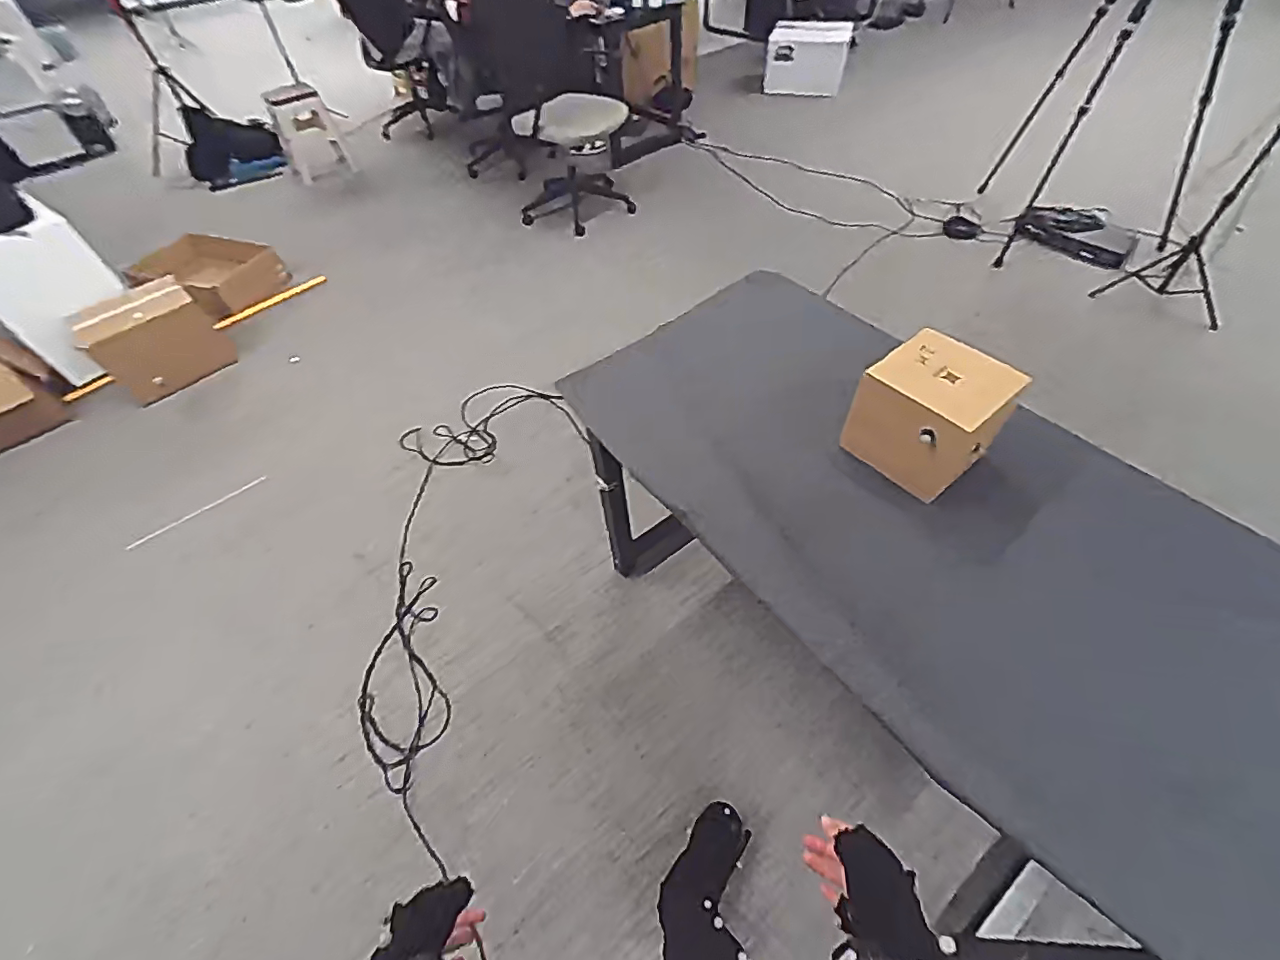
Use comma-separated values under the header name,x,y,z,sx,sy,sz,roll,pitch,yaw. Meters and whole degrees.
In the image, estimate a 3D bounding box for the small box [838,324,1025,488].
name,x,y,z,sx,sy,sz,roll,pitch,yaw
small box,0.451,-0.111,0.864,0.168,0.176,0.179,-34,56,-21
